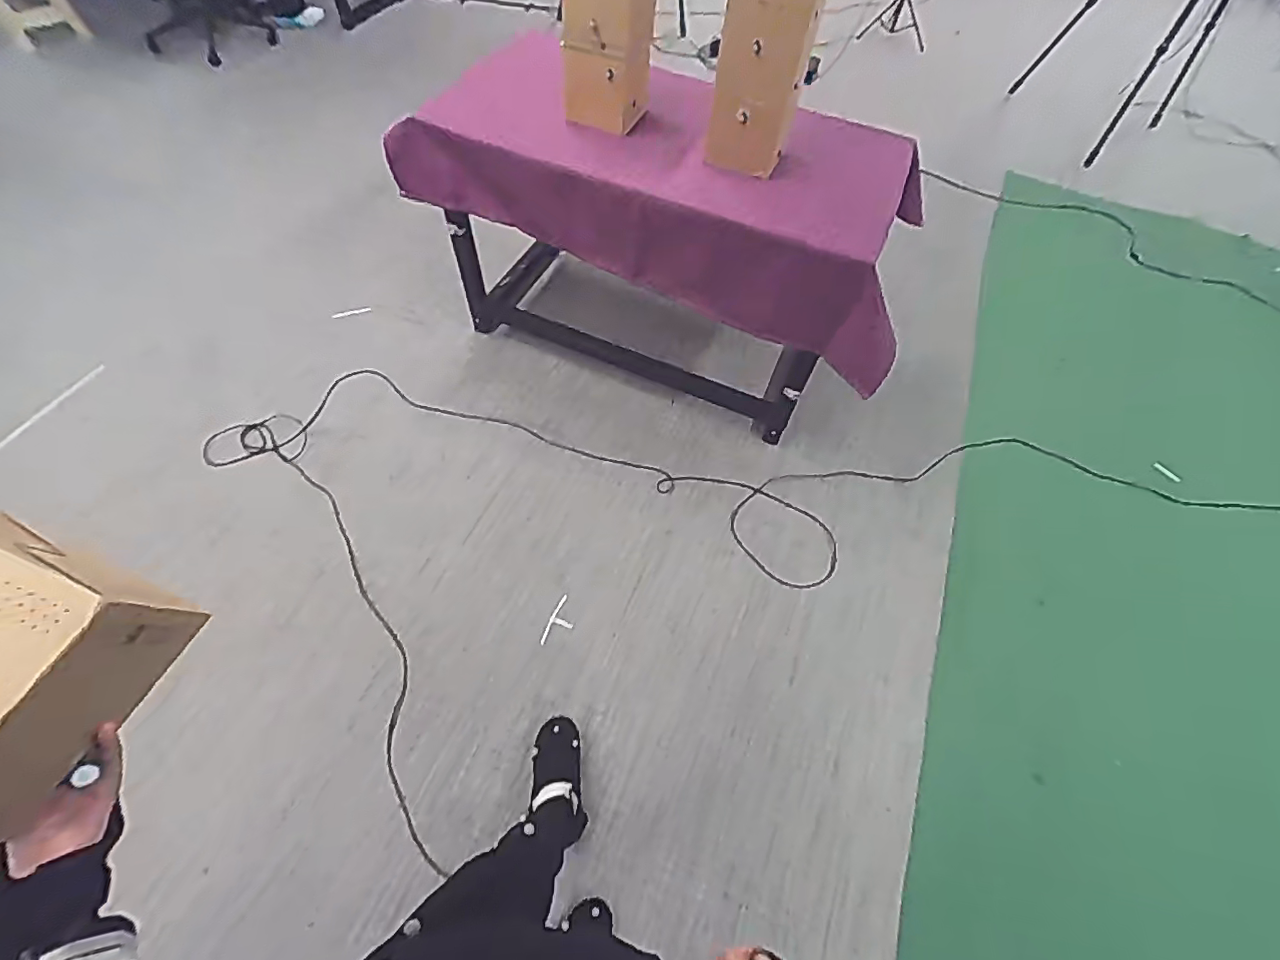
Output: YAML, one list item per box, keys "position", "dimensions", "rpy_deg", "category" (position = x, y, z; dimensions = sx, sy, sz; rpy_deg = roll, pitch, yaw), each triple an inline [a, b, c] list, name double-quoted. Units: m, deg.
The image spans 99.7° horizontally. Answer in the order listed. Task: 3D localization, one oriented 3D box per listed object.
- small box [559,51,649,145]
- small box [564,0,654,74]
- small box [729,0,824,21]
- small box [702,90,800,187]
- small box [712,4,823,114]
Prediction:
- position: [-0.092, -0.999, 1.393]
  dimensions: [0.179, 0.176, 0.168]
  rpy_deg: [21, 59, 8]
  category: "small box"
- position: [-0.072, -1.087, 1.255]
  dimensions: [0.168, 0.176, 0.179]
  rpy_deg: [21, 58, 8]
  category: "small box"
- position: [0.285, -1.030, 1.050]
  dimensions: [0.179, 0.176, 0.168]
  rpy_deg: [20, 60, 9]
  category: "small box"
- position: [0.265, -0.852, 1.326]
  dimensions: [0.179, 0.176, 0.168]
  rpy_deg: [22, 60, 9]
  category: "small box"
- position: [0.275, -0.940, 1.188]
  dimensions: [0.179, 0.176, 0.168]
  rpy_deg: [21, 59, 10]
  category: "small box"
